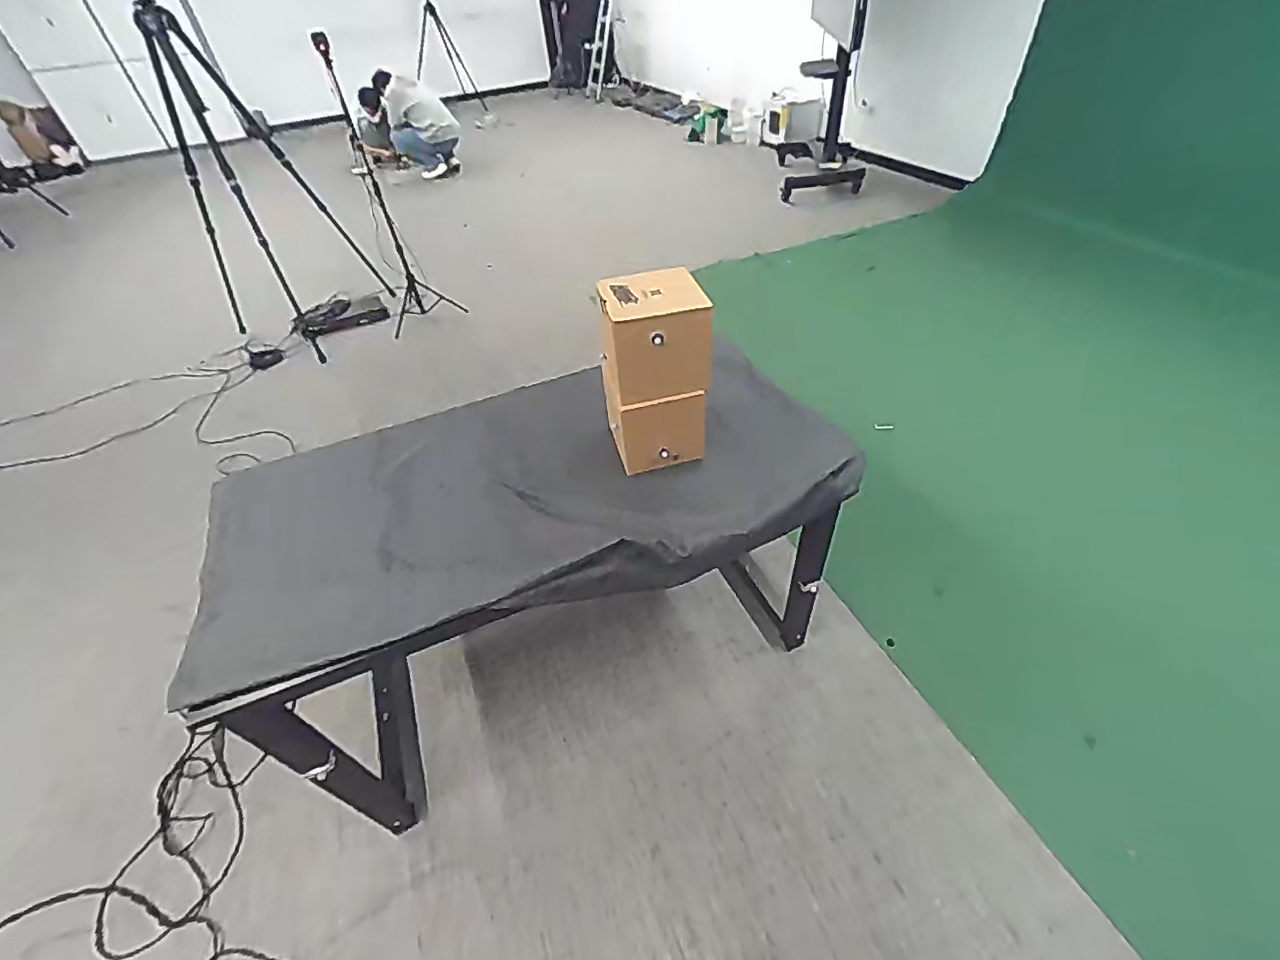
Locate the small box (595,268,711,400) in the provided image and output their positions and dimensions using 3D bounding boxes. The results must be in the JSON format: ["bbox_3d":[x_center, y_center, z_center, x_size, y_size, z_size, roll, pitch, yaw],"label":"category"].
[{"bbox_3d":[0.025,-0.268,1.002,0.179,0.176,0.168,-12,46,-7],"label":"small box"}]
